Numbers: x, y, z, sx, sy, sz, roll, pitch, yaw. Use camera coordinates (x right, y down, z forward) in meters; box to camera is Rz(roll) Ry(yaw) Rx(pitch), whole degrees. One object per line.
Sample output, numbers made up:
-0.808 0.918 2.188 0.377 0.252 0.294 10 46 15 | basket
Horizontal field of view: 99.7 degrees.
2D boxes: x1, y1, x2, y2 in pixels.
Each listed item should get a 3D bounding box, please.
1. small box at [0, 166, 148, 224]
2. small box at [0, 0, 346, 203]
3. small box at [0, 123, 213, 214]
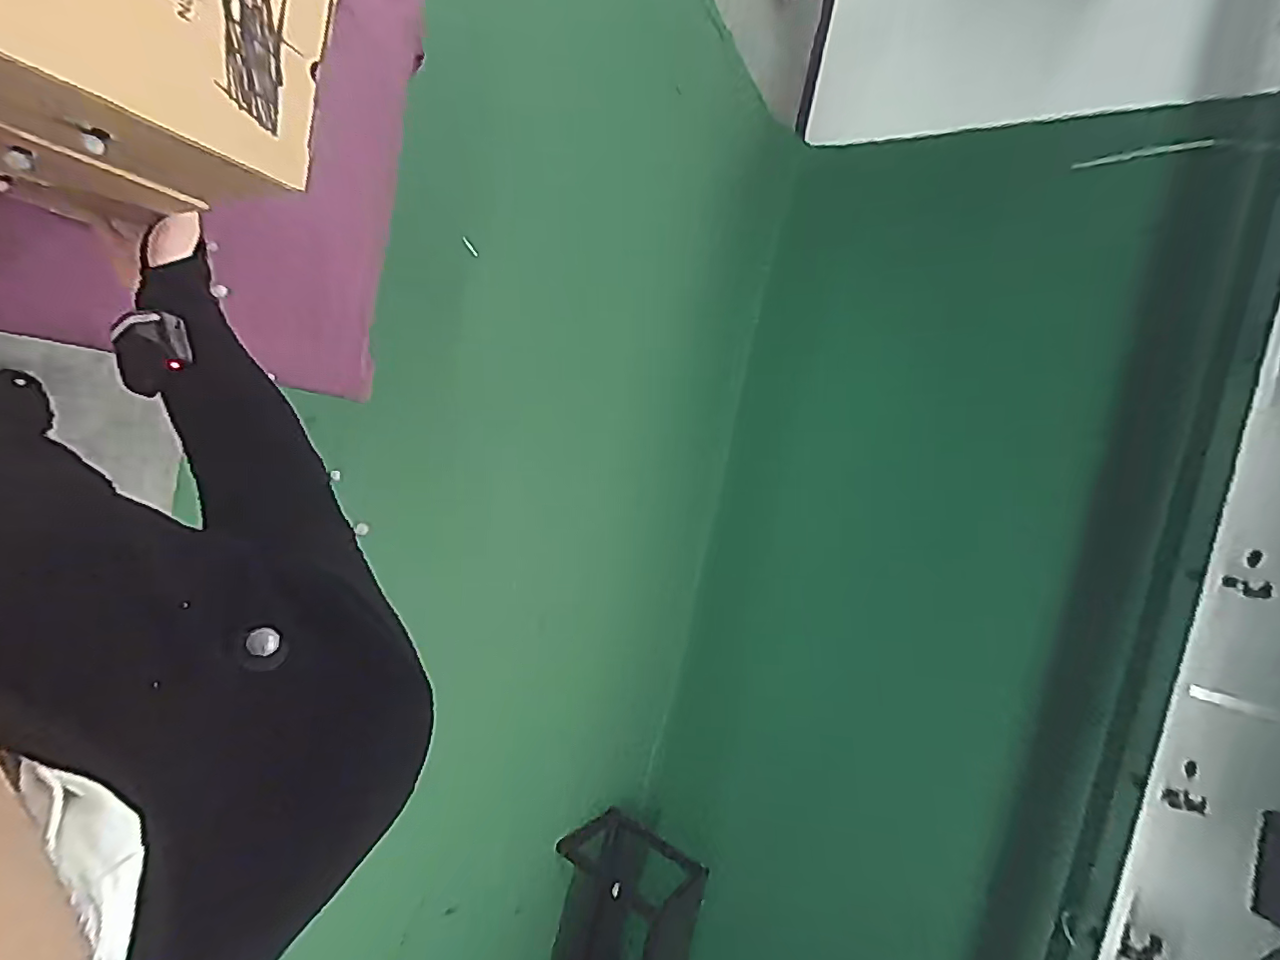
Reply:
-0.608 -0.368 0.529 0.179 0.176 0.168 10 94 -58 | small box
-0.334 -0.304 0.358 0.179 0.176 0.168 5 98 -57 | small box
-0.472 -0.337 0.443 0.179 0.176 0.168 7 96 -57 | small box
